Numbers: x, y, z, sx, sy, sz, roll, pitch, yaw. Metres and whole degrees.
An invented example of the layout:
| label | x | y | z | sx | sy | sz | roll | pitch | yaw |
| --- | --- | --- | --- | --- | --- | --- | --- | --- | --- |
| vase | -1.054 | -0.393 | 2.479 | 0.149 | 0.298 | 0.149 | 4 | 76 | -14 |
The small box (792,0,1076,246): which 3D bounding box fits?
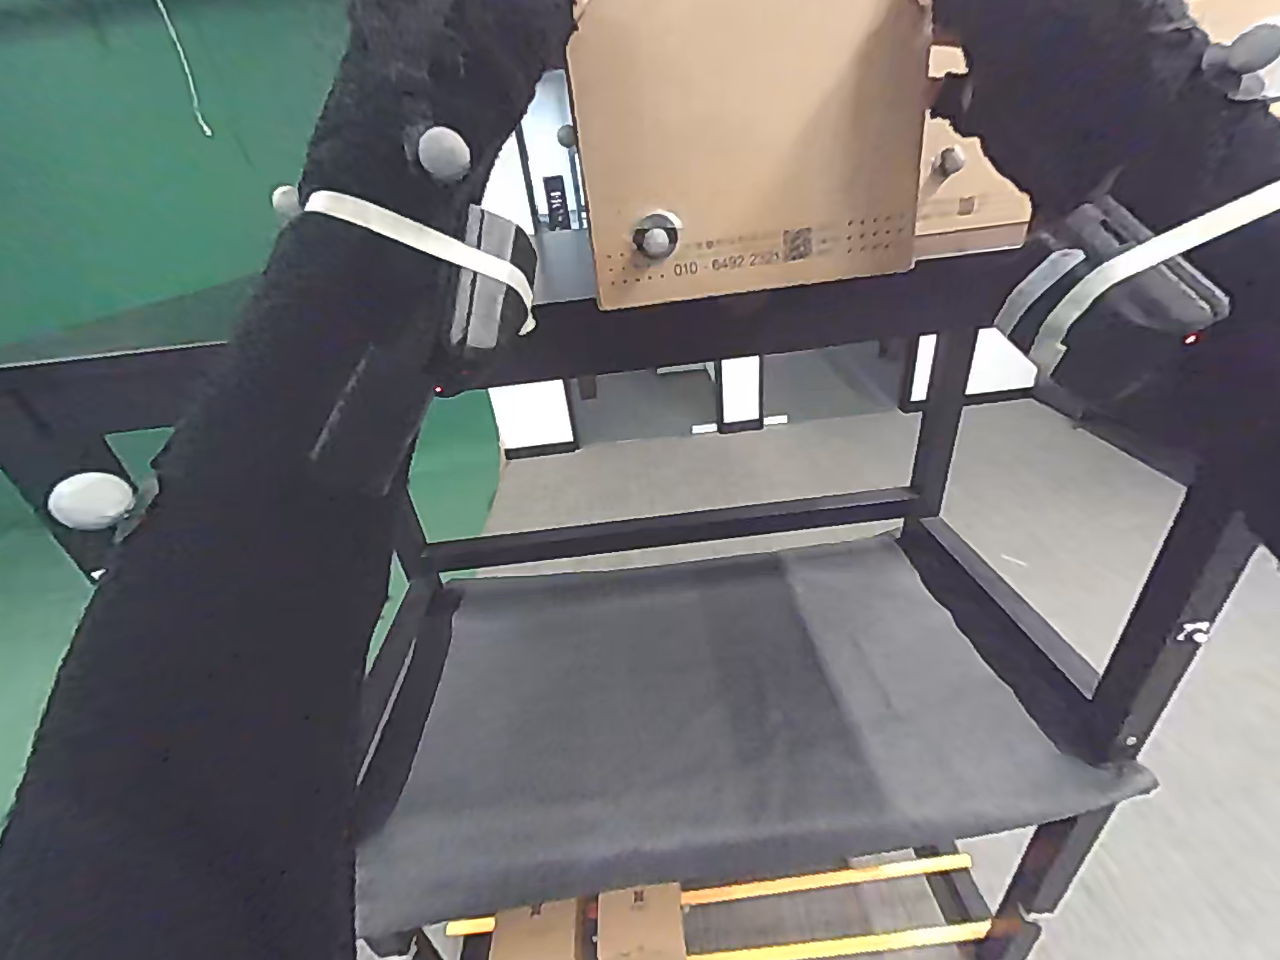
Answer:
| label | x | y | z | sx | sy | sz | roll | pitch | yaw |
| --- | --- | --- | --- | --- | --- | --- | --- | --- | --- |
| small box | 0.251 | -0.328 | 0.518 | 0.168 | 0.176 | 0.179 | -7 | 31 | 0 |
